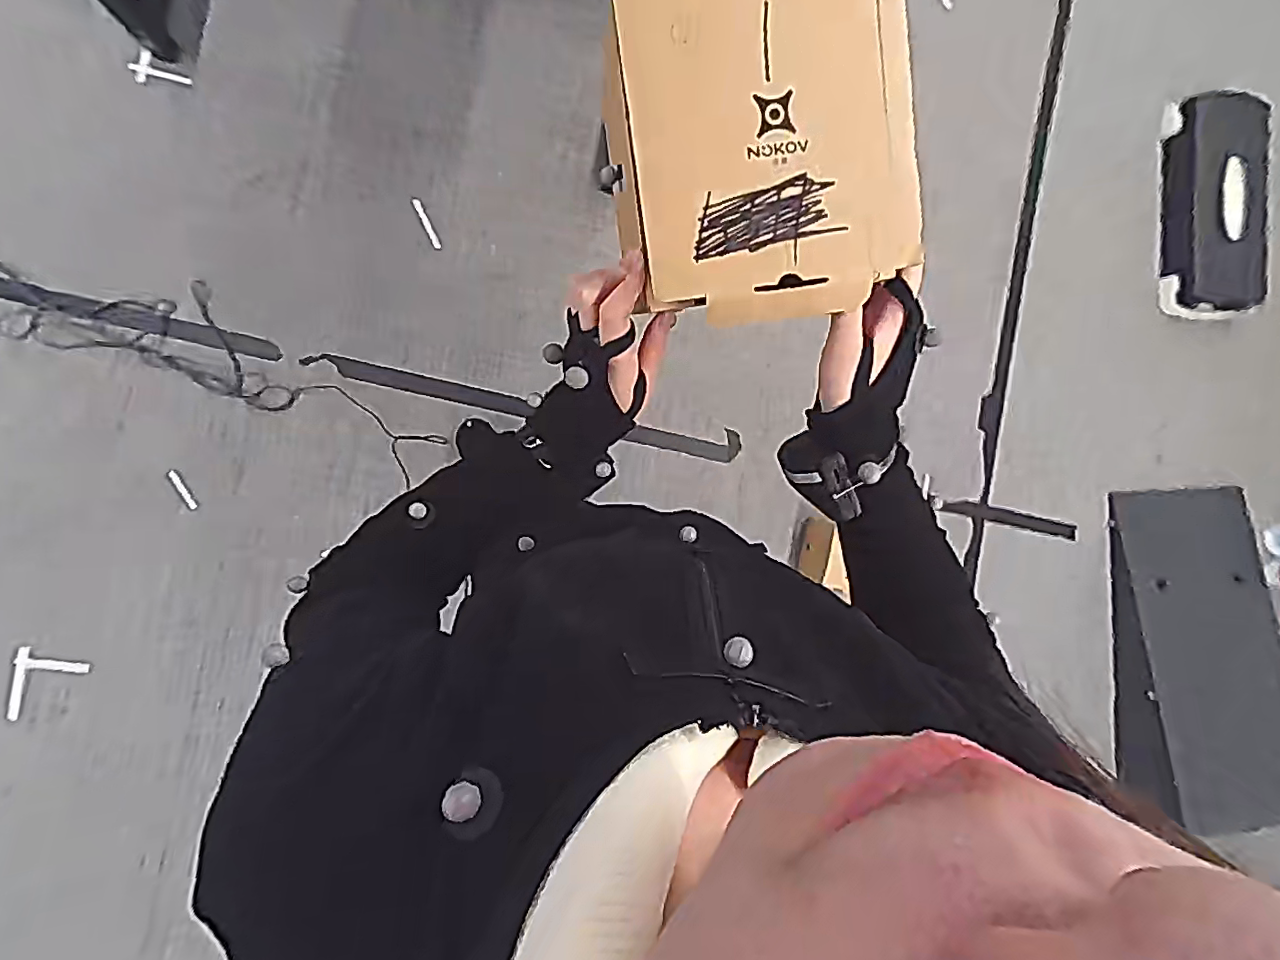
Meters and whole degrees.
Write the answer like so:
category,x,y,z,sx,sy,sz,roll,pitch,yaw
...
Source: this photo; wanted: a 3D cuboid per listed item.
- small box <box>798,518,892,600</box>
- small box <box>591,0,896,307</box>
category,x,y,z,sx,sy,sz,roll,pitch,yaw
small box,0.557,0.213,1.493,0.168,0.176,0.179,14,90,-8
small box,0.060,-0.224,0.387,0.168,0.176,0.179,-9,106,-3
